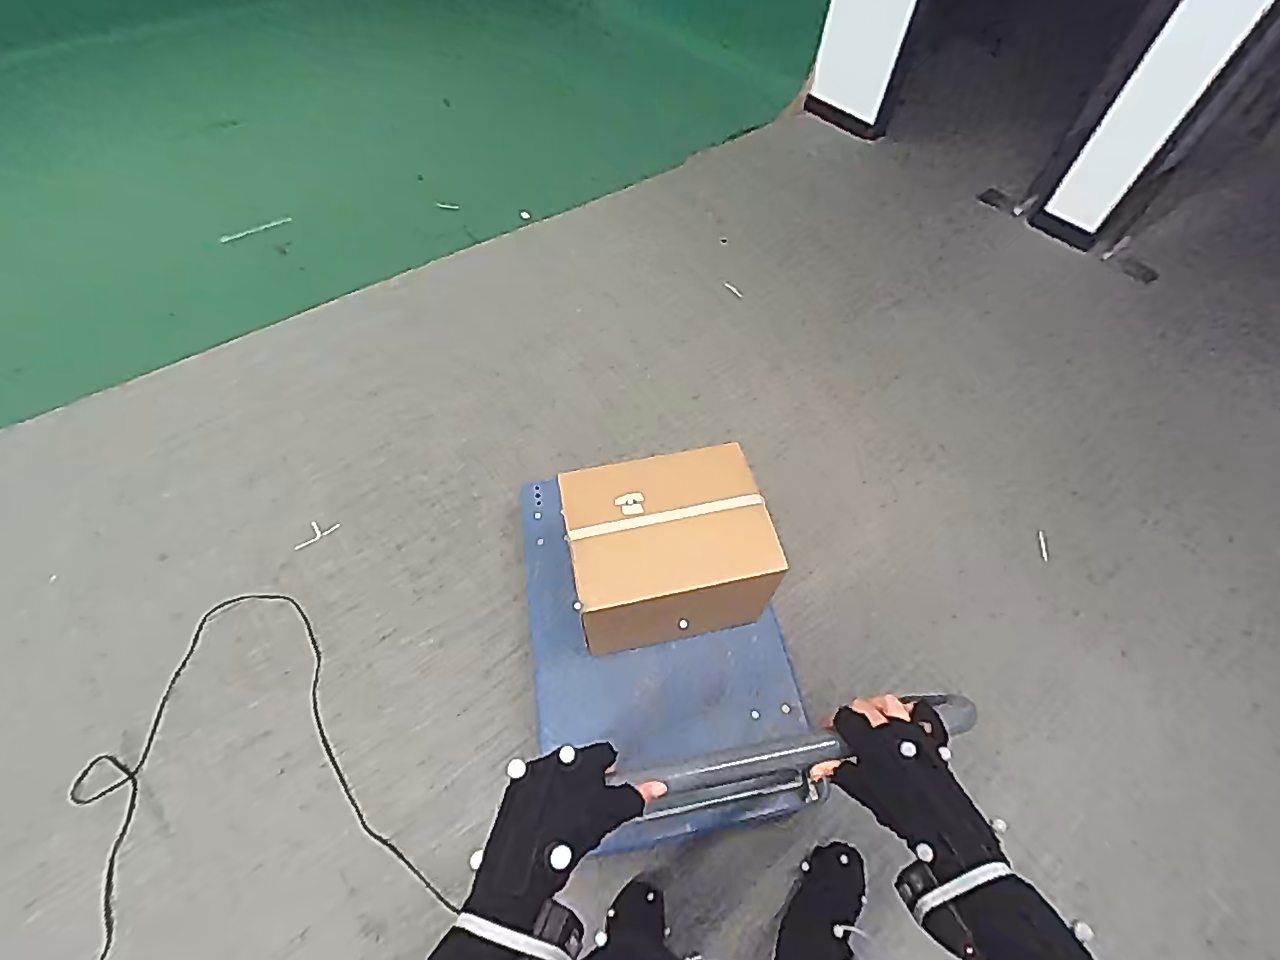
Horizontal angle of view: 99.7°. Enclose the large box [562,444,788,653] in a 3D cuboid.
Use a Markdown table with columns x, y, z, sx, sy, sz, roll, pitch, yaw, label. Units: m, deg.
| x | y | z | sx | sy | sz | roll | pitch | yaw | label |
| --- | --- | --- | --- | --- | --- | --- | --- | --- | --- |
| 0.062 | 0.161 | 1.222 | 0.408 | 0.320 | 0.320 | -11 | 57 | -7 | large box |
